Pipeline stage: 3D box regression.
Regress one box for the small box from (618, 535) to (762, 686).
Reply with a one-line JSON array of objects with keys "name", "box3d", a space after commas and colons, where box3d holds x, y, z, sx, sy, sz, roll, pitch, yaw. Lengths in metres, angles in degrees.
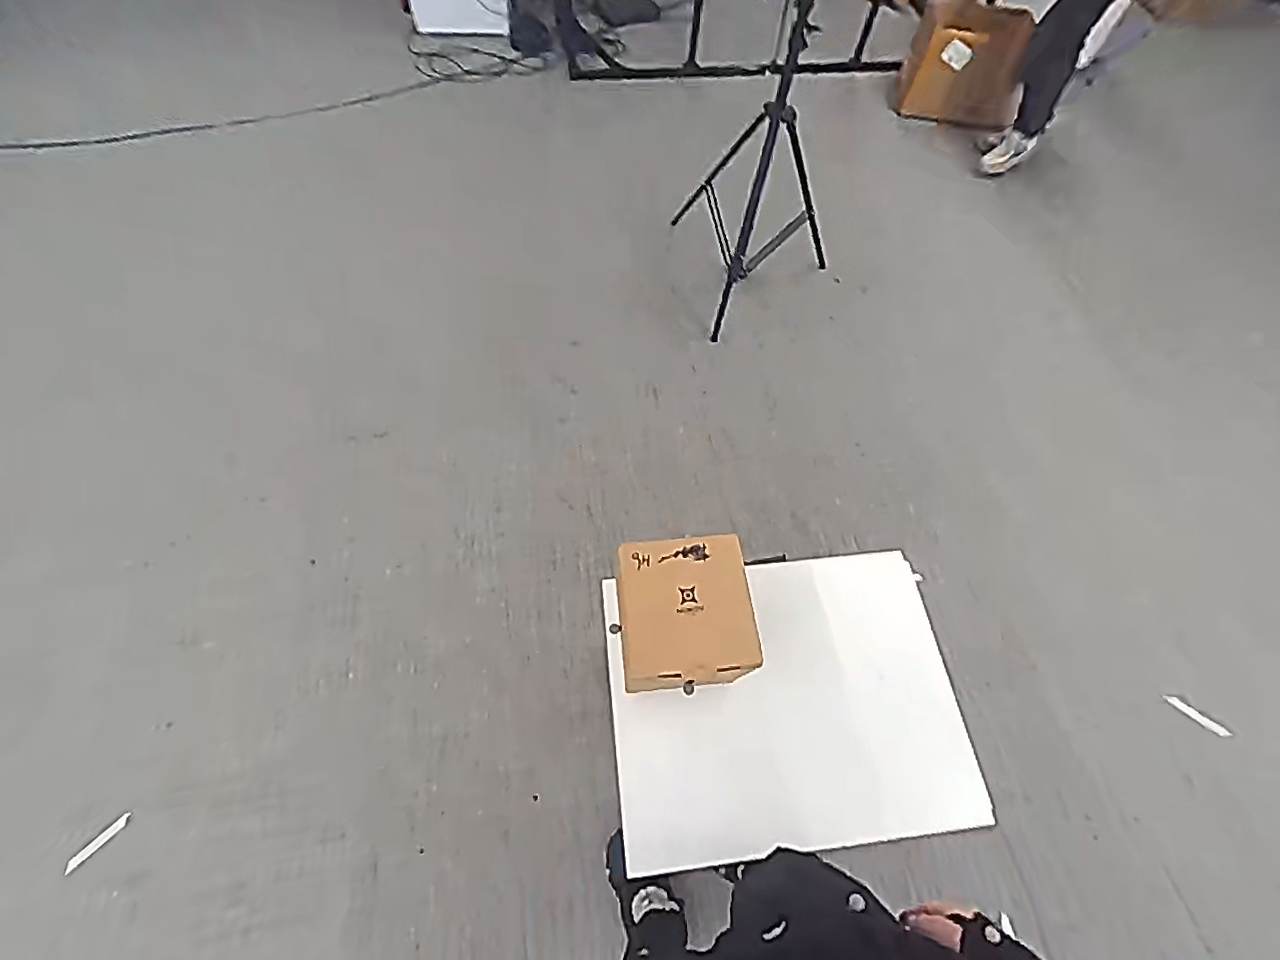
[{"name": "small box", "box3d": [0.058, 0.191, 0.765, 0.168, 0.176, 0.179, -4, 65, -7]}]
